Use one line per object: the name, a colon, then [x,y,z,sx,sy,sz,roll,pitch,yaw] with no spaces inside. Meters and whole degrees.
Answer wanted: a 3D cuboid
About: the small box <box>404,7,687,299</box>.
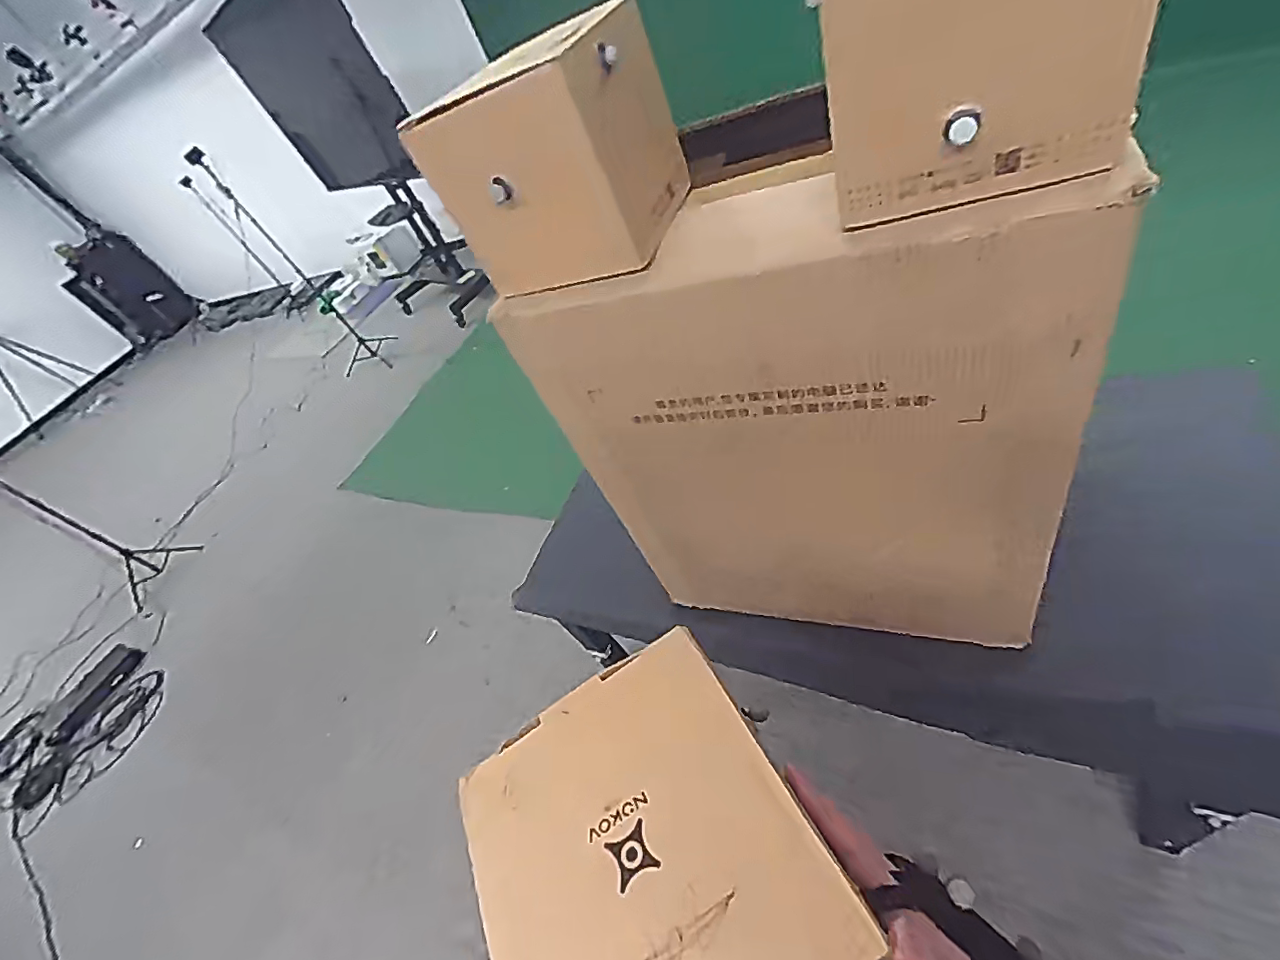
small box: [-0.078,-0.300,0.527,0.179,0.176,0.168,-1,51,30]
